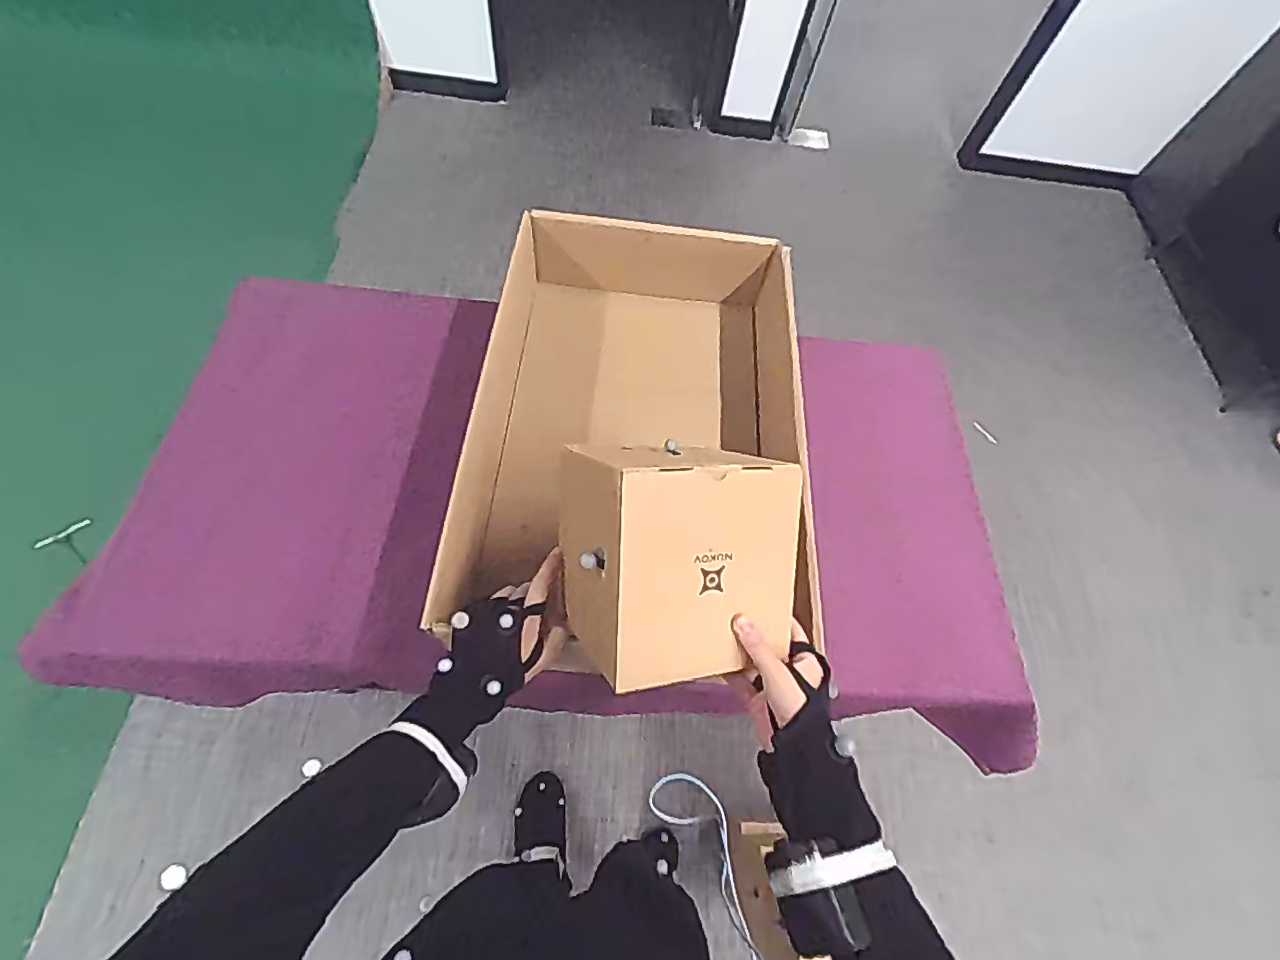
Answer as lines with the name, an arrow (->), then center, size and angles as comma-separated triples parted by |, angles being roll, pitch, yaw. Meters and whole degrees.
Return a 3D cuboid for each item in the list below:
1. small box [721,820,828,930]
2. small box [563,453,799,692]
small box -> 0.280, 0.837, 1.159 | 0.179, 0.176, 0.168 | 4, 63, -4
small box -> 0.026, 0.069, 0.514 | 0.168, 0.176, 0.179 | -2, 98, -22
